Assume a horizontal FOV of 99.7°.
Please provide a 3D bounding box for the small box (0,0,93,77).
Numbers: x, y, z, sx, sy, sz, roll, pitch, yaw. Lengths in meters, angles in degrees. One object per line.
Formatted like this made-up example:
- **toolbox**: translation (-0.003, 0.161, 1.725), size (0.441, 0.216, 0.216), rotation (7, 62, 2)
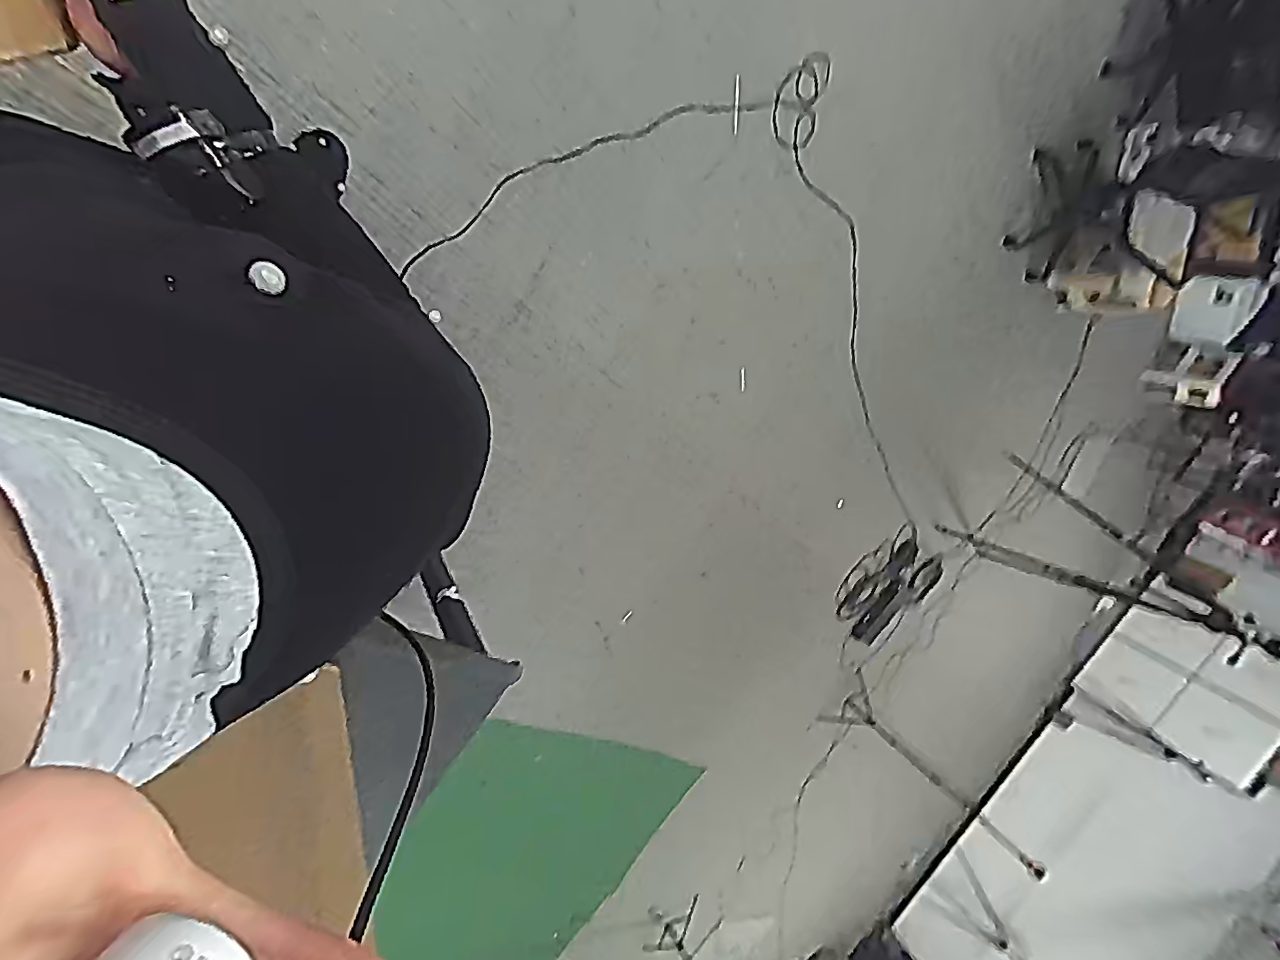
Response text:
- **small box**: translation (-0.376, -0.291, 0.215), size (0.168, 0.176, 0.179), rotation (-7, 131, -26)
